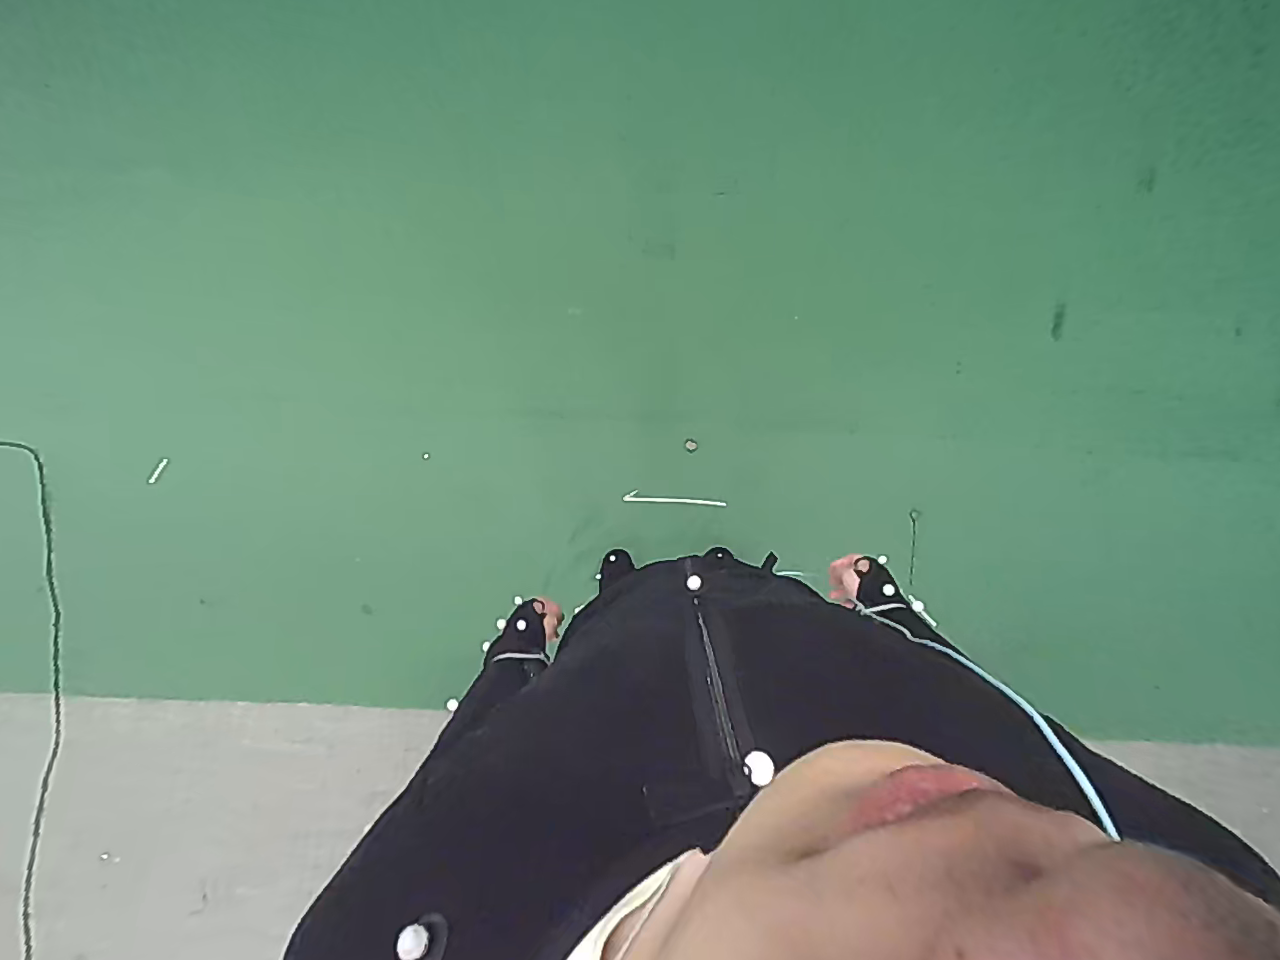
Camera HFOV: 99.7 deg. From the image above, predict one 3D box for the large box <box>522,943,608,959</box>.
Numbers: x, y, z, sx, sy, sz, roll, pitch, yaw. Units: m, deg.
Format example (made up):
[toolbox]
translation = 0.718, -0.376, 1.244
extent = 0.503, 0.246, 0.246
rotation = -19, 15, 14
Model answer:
[large box]
translation = -0.150, 1.452, 1.338
extent = 0.408, 0.320, 0.320
rotation = 13, 83, 1
